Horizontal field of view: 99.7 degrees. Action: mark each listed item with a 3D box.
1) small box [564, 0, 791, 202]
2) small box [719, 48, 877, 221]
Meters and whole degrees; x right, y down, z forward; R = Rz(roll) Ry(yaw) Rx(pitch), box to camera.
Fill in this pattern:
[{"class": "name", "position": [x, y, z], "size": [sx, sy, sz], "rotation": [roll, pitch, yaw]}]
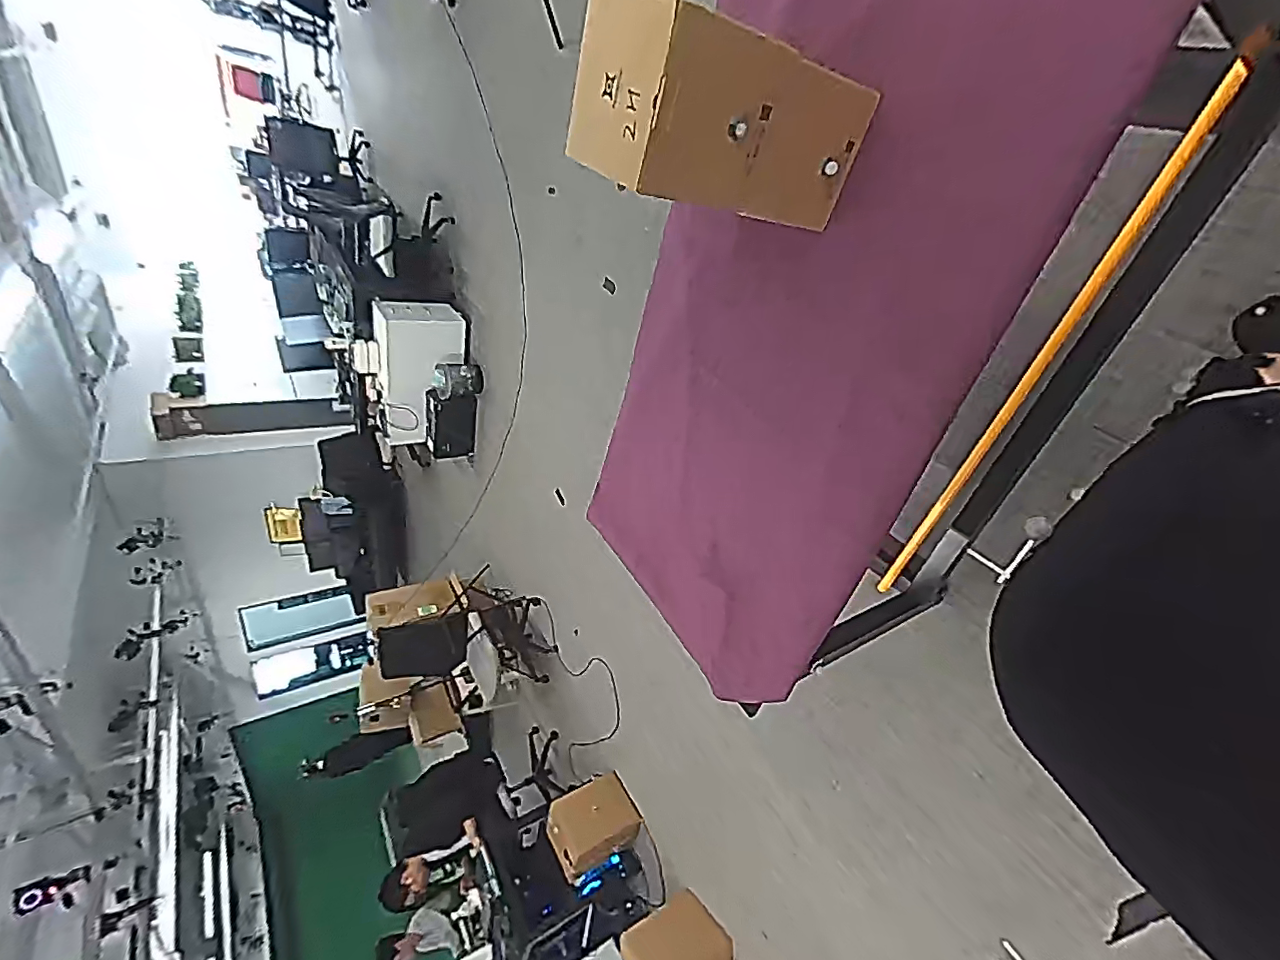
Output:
[{"class": "small box", "position": [0.035, -0.437, 0.624], "size": [0.179, 0.176, 0.168], "rotation": [49, 136, 37]}, {"class": "small box", "position": [0.169, -0.460, 0.719], "size": [0.179, 0.176, 0.168], "rotation": [49, 136, 36]}]
